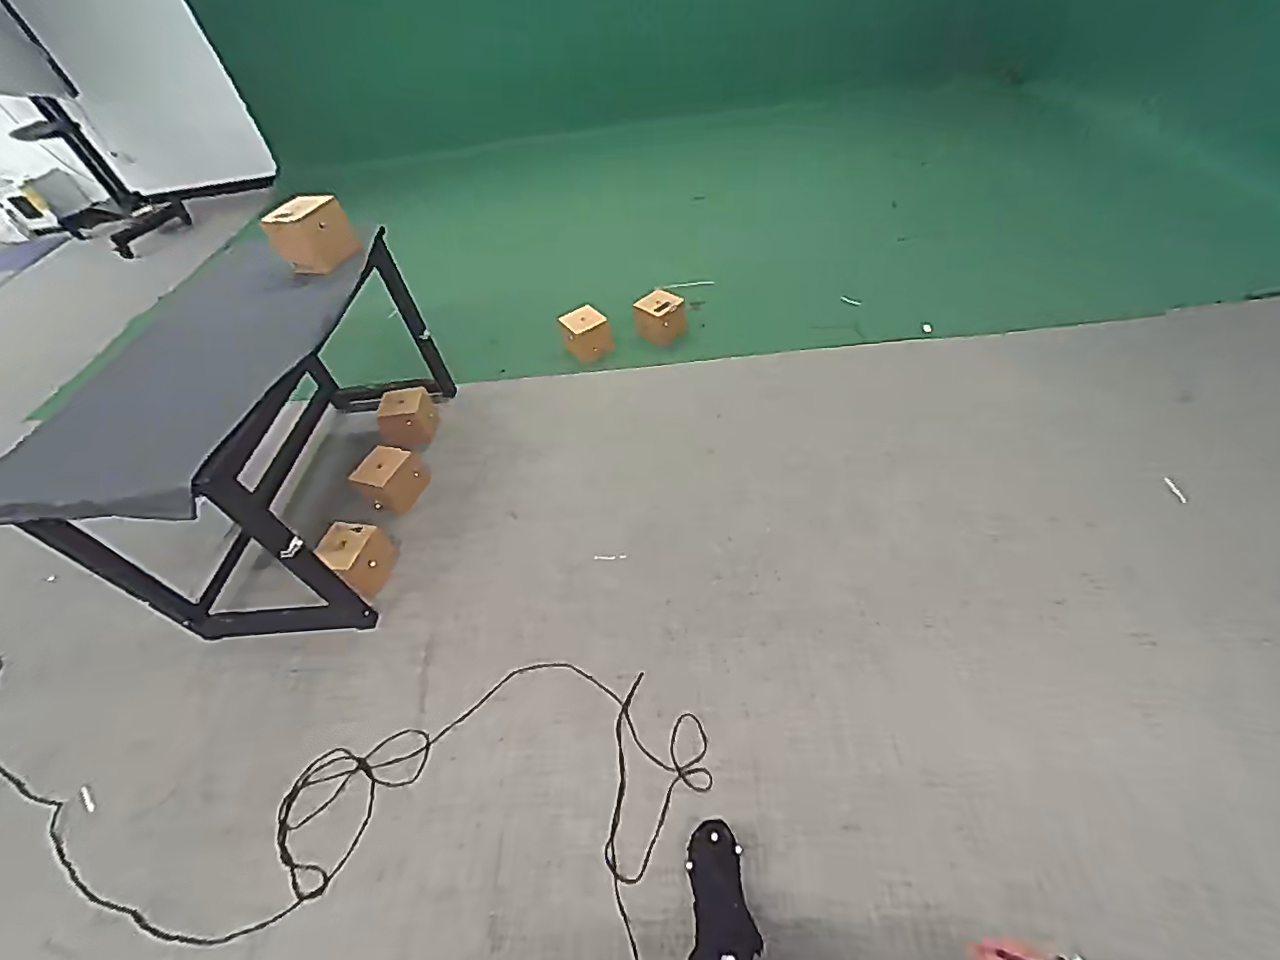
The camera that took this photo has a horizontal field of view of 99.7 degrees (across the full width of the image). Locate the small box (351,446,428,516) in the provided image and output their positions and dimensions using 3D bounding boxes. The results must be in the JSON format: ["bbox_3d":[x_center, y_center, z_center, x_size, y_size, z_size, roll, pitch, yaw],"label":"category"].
[{"bbox_3d":[-0.920,0.004,2.011,0.168,0.176,0.179,11,53,19],"label":"small box"}]

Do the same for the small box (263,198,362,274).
[{"bbox_3d":[-1.038,-0.778,1.731,0.168,0.176,0.179,10,53,21],"label":"small box"}]

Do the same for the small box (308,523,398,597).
[{"bbox_3d":[-0.936,0.267,1.784,0.168,0.176,0.179,5,51,13],"label":"small box"}]

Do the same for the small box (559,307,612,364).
[{"bbox_3d":[-0.246,-0.660,2.481,0.168,0.176,0.179,-32,52,-18],"label":"small box"}]

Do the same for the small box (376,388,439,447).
[{"bbox_3d":[-0.954,-0.257,2.241,0.179,0.176,0.168,-8,48,2],"label":"small box"}]
